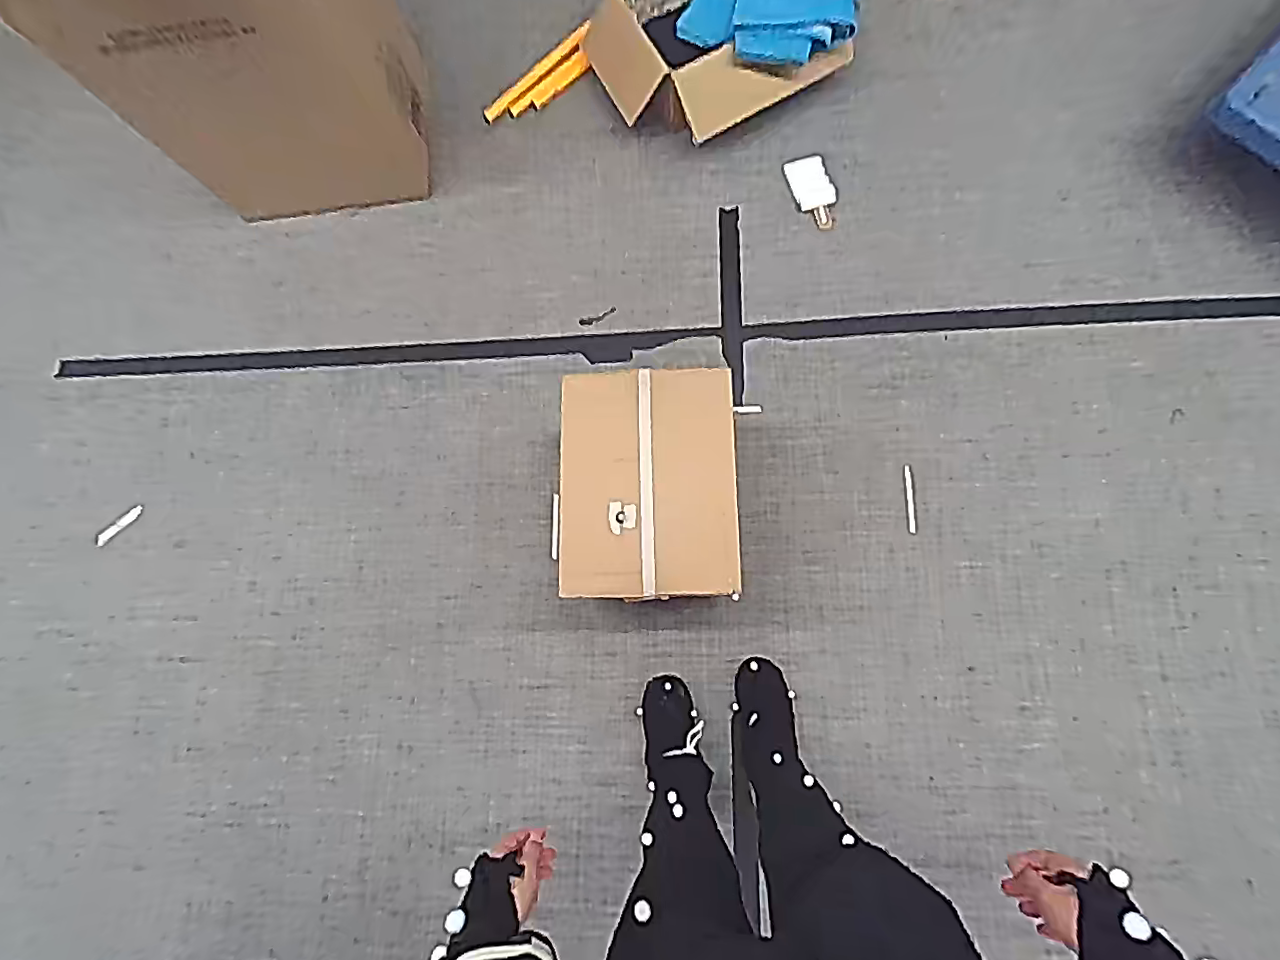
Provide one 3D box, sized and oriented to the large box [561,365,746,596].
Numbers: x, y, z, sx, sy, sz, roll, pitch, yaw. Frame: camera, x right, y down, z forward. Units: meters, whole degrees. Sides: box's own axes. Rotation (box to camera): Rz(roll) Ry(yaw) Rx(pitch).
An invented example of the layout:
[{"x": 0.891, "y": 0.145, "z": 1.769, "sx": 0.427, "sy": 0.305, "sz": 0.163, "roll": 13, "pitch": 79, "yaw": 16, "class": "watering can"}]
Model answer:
[{"x": 0.027, "y": 0.018, "z": 1.092, "sx": 0.320, "sy": 0.320, "sz": 0.408, "roll": -2, "pitch": 80, "yaw": 4, "class": "large box"}]
